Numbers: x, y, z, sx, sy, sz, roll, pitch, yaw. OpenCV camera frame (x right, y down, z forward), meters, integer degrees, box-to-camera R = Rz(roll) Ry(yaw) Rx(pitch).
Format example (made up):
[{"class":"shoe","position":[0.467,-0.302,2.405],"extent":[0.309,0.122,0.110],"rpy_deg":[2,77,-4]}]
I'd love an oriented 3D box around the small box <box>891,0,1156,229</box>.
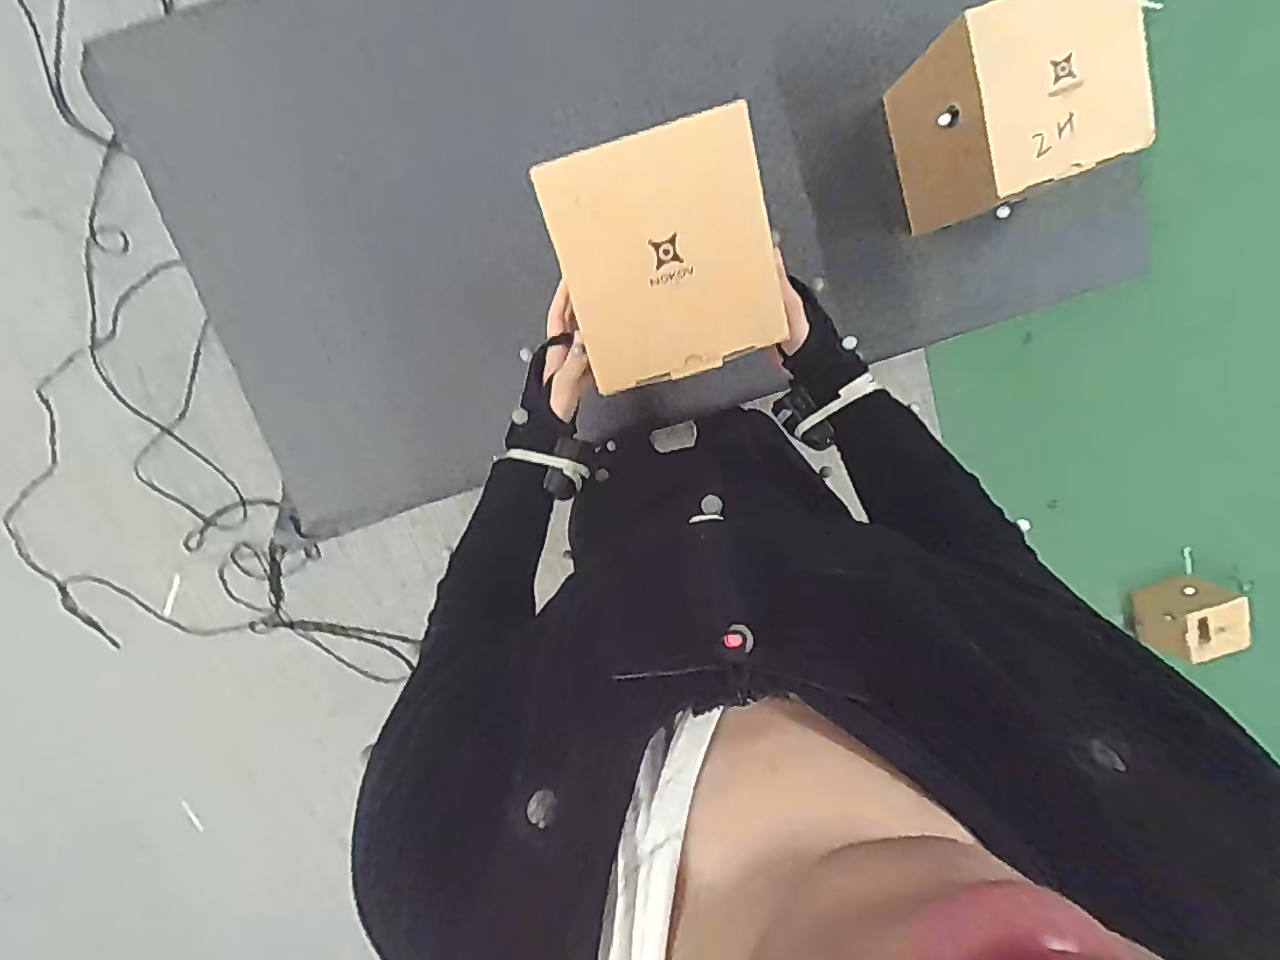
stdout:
[{"class":"small box","position":[0.408,-0.412,0.604],"extent":[0.168,0.176,0.179],"rpy_deg":[-19,102,4]}]
